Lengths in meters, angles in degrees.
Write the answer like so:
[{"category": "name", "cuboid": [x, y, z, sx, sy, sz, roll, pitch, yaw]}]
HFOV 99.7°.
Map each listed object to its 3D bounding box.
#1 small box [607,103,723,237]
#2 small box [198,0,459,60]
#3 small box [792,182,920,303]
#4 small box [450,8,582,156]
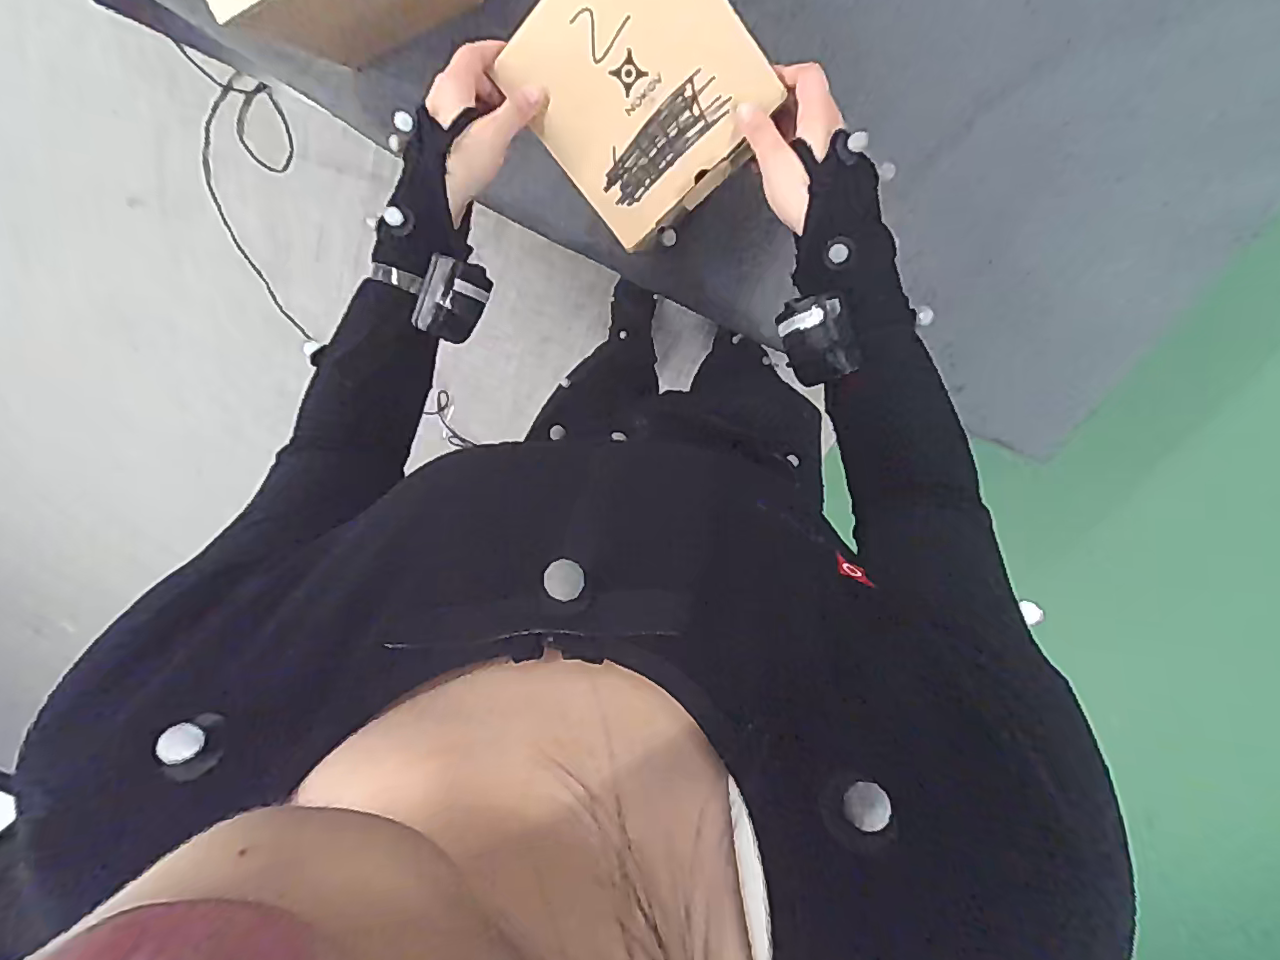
[{"category": "small box", "cuboid": [0.061, -0.642, 1.138, 0.179, 0.176, 0.168, 44, 114, -11]}, {"category": "small box", "cuboid": [-0.275, -0.491, 0.449, 0.179, 0.176, 0.168, -13, 113, 15]}, {"category": "small box", "cuboid": [0.442, -0.501, 1.144, 0.179, 0.176, 0.168, 29, 117, -7]}, {"category": "small box", "cuboid": [-0.248, -0.799, 1.111, 0.179, 0.176, 0.168, 36, 116, -8]}]
